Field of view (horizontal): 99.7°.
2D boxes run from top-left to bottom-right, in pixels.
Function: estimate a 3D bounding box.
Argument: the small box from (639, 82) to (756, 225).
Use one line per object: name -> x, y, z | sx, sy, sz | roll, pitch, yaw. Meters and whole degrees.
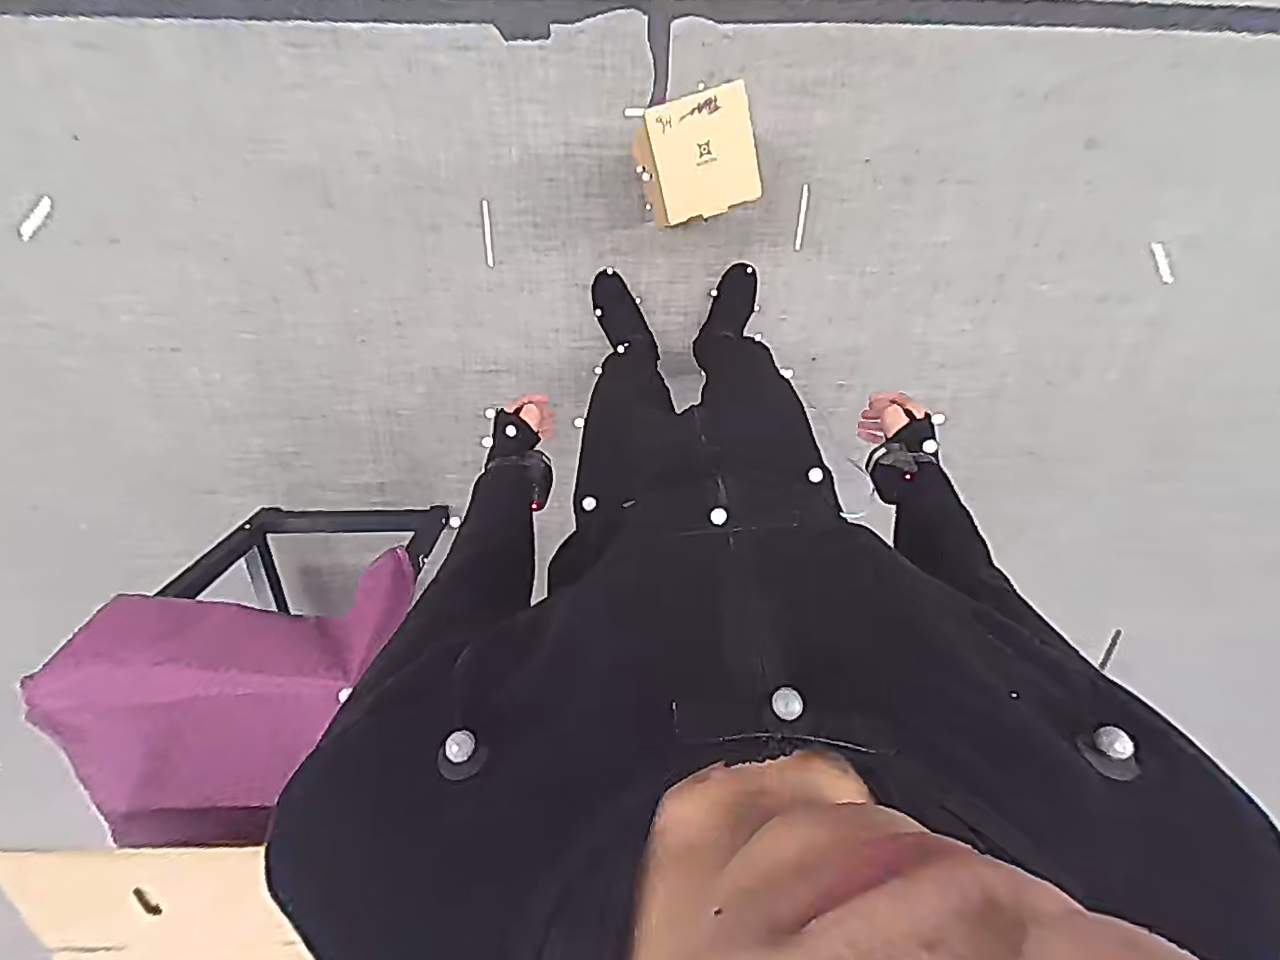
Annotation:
small box -> 0.098, -0.572, 0.967 | 0.168, 0.176, 0.179 | -15, 116, 3
